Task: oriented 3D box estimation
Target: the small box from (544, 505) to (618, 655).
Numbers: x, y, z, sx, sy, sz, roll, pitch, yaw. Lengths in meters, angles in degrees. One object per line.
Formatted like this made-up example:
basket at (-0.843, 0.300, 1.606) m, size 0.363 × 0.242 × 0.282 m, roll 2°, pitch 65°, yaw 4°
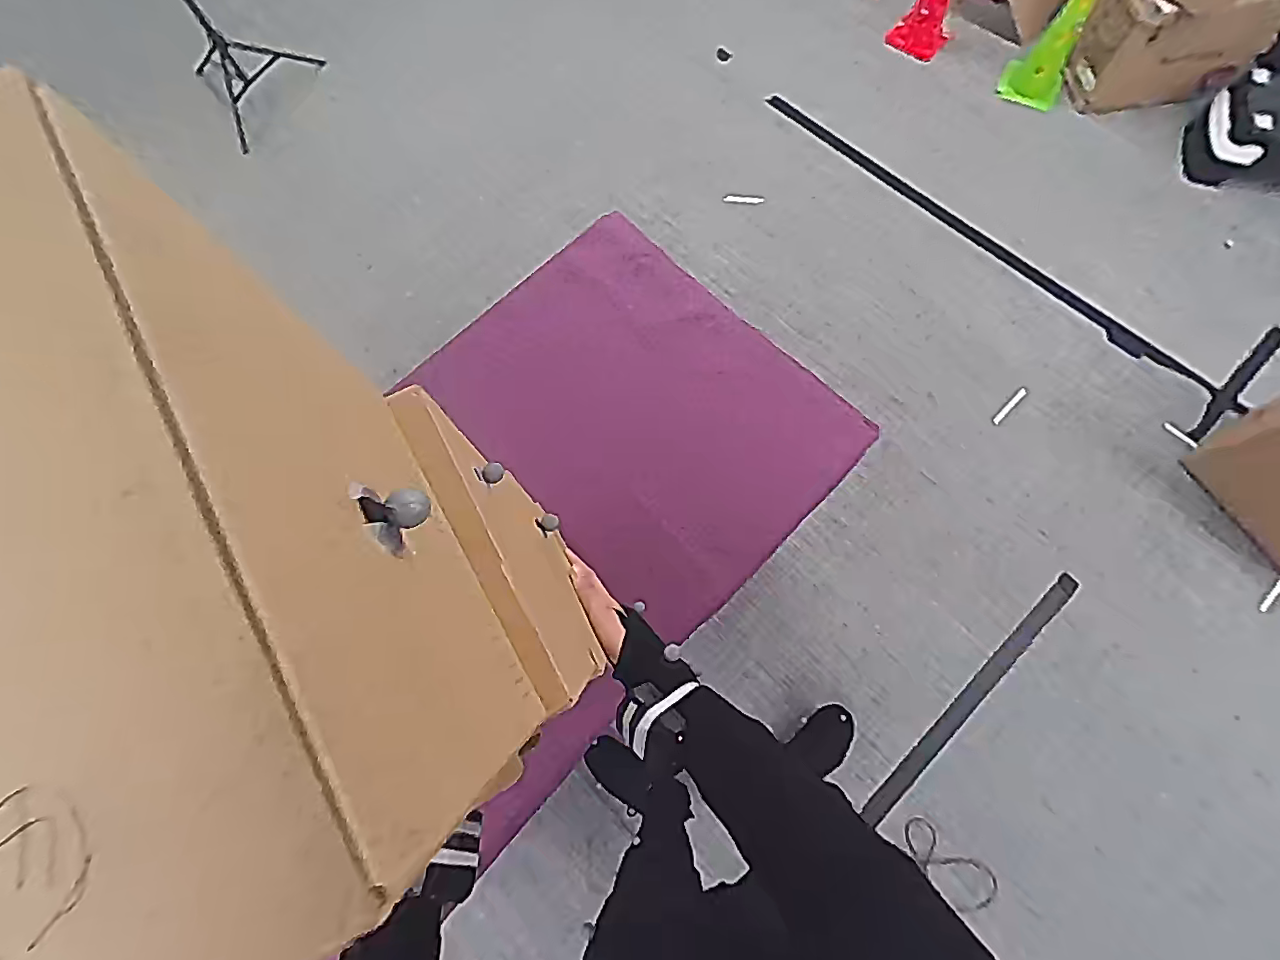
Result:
small box at (-0.133, 0.152, 0.633) m, size 0.168 × 0.176 × 0.179 m, roll -28°, pitch 79°, yaw -8°

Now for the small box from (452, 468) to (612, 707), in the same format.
small box at (-0.133, 0.117, 0.472) m, size 0.168 × 0.176 × 0.179 m, roll -25°, pitch 79°, yaw -7°
